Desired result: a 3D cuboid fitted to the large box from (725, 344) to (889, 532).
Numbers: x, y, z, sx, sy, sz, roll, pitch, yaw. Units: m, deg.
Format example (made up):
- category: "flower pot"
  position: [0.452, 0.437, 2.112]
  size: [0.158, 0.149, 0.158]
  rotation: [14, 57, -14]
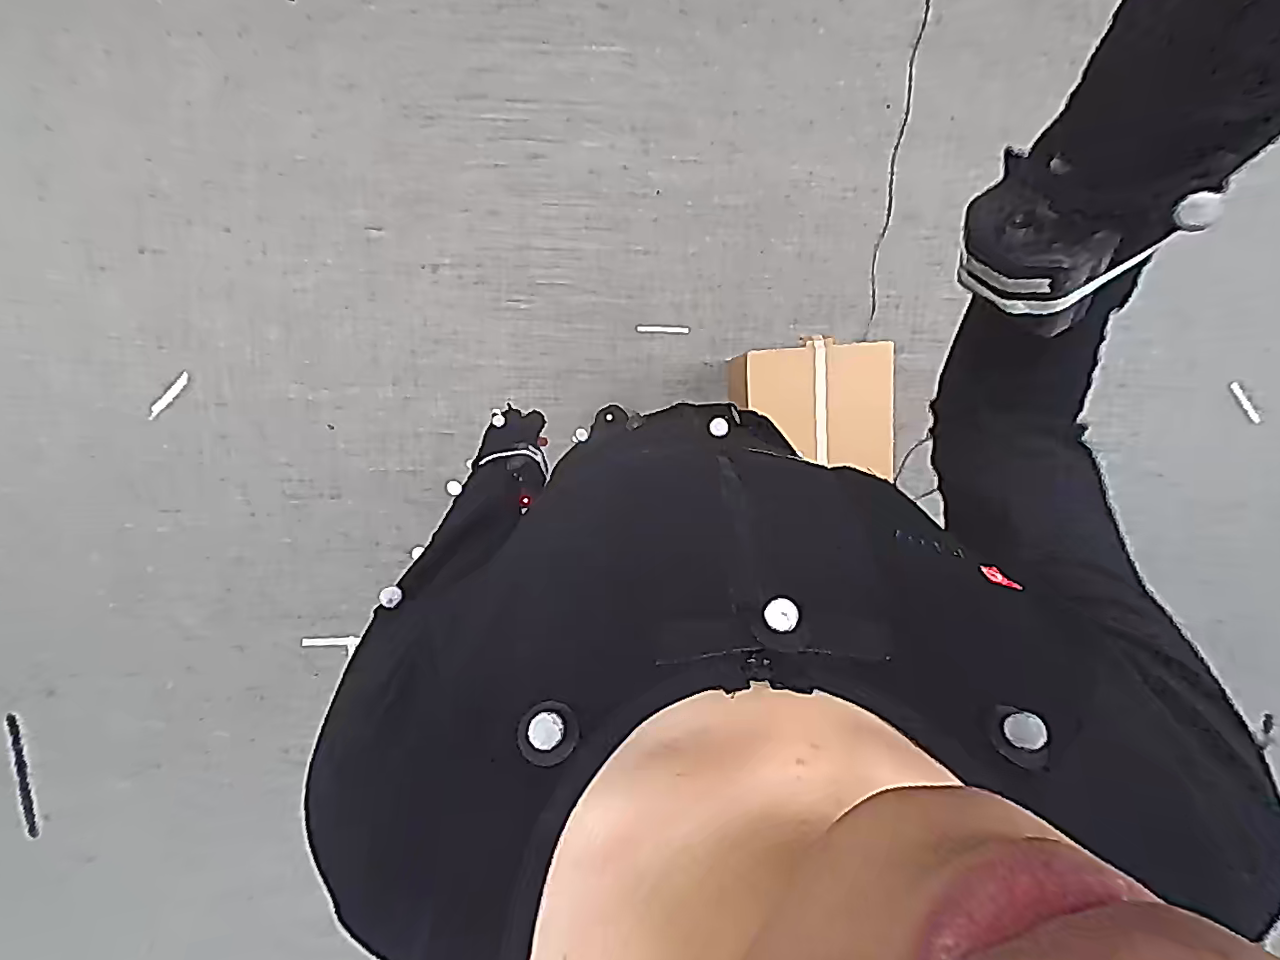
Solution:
- category: "large box"
  position: [0.399, -0.113, 1.345]
  size: [0.320, 0.320, 0.408]
  rotation: [-4, 100, 2]
